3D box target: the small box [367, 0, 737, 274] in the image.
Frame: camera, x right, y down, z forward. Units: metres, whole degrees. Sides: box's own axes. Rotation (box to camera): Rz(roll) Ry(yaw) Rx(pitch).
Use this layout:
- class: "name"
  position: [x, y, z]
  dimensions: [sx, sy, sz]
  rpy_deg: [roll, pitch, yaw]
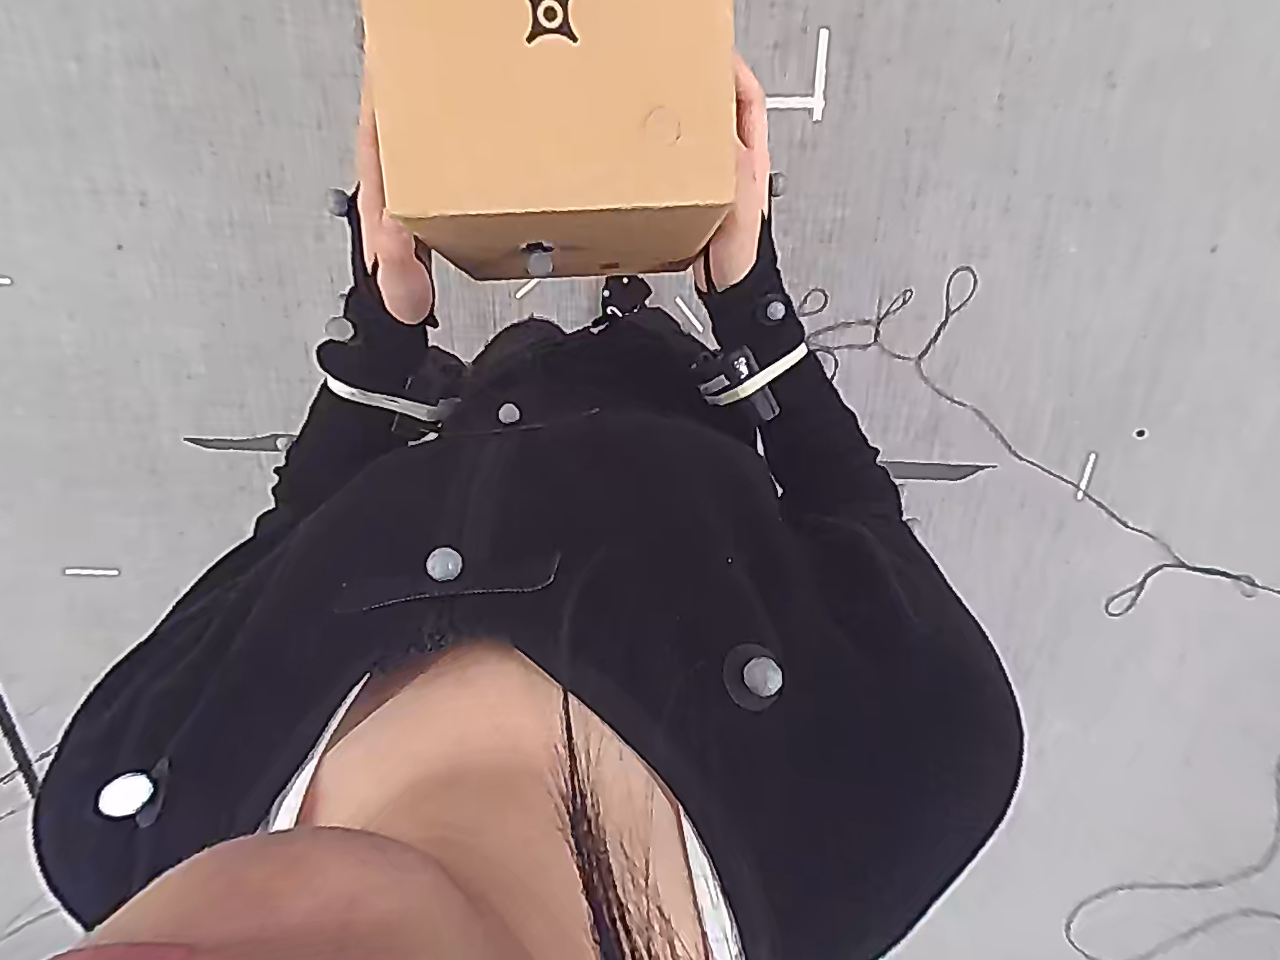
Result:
- class: "small box"
  position: [-0.042, -0.226, 0.319]
  dimensions: [0.168, 0.176, 0.179]
  rpy_deg: [-4, 100, -3]
